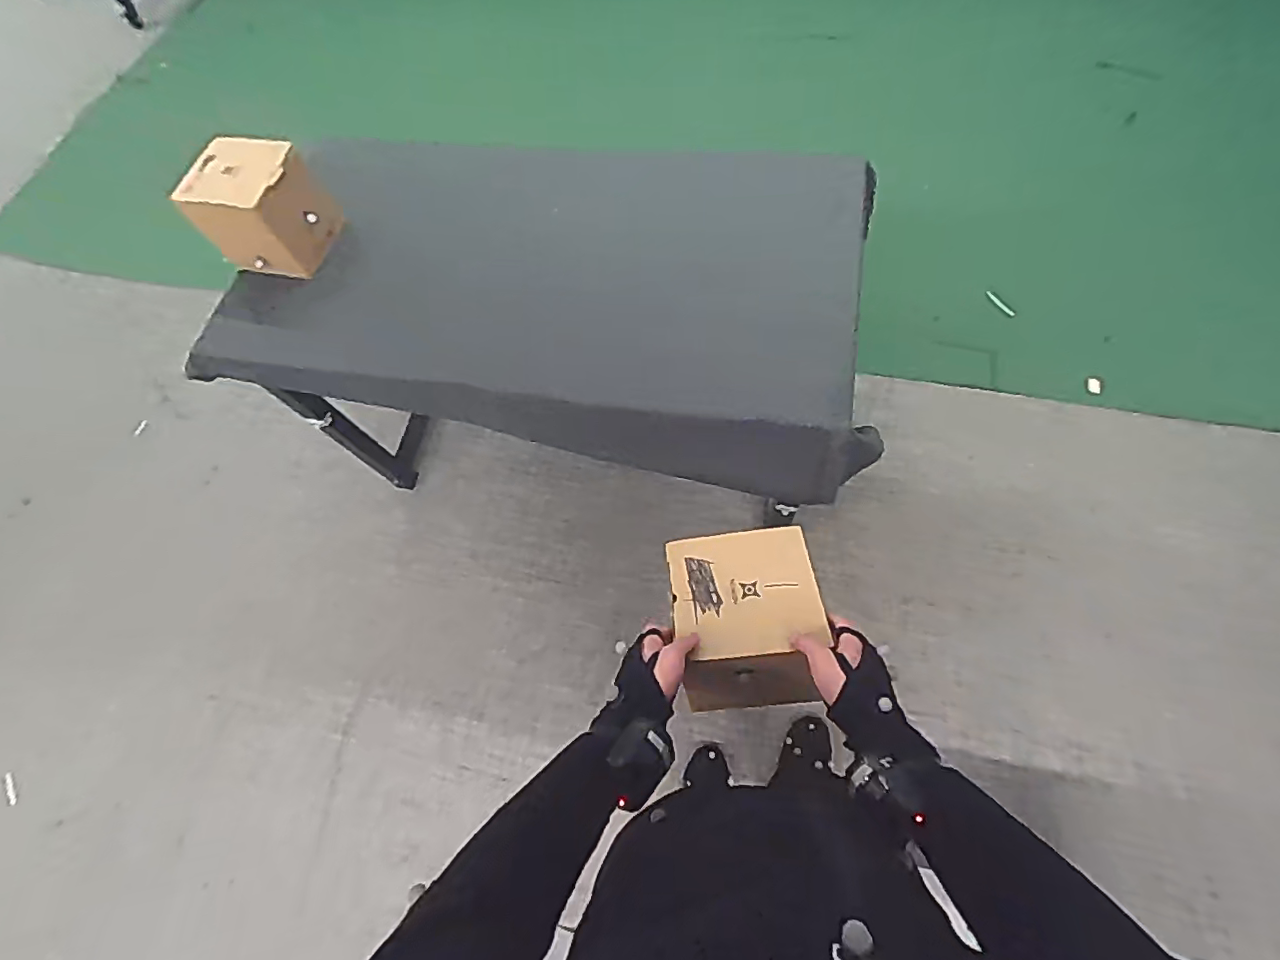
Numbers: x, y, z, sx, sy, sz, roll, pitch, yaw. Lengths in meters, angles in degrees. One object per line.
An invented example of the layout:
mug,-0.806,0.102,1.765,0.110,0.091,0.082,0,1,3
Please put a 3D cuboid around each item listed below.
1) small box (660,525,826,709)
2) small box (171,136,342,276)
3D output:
small box,0.128,0.182,0.698,0.179,0.176,0.168,-8,49,5
small box,-0.718,-0.519,1.038,0.179,0.176,0.168,11,69,9
